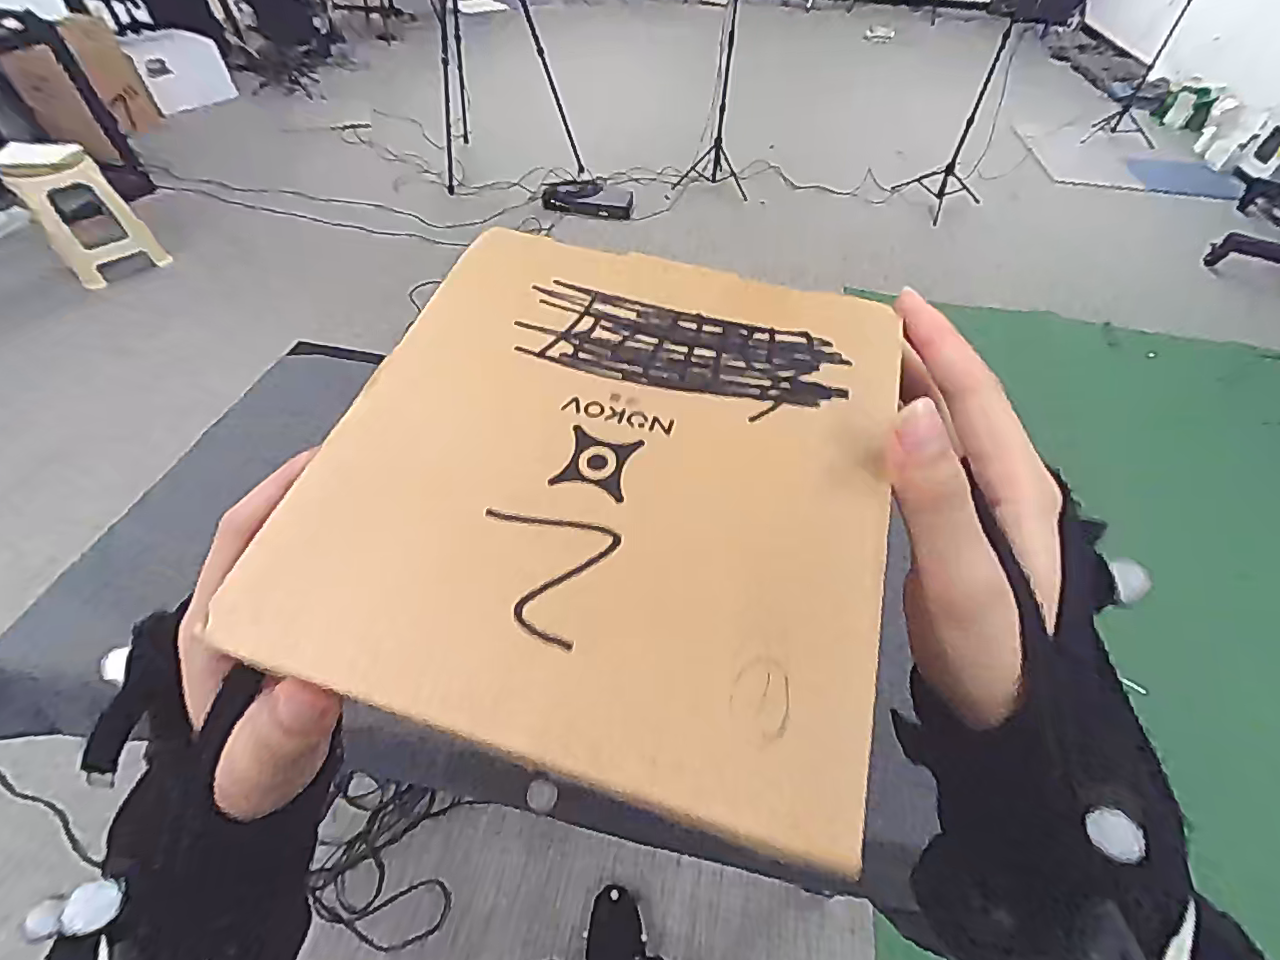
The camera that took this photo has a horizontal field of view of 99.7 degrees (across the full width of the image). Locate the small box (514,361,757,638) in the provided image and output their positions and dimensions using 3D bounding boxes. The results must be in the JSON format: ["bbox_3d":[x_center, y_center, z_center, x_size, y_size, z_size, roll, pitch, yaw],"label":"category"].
[{"bbox_3d":[0.006,0.020,0.490,0.168,0.176,0.179,9,49,7],"label":"small box"}]
